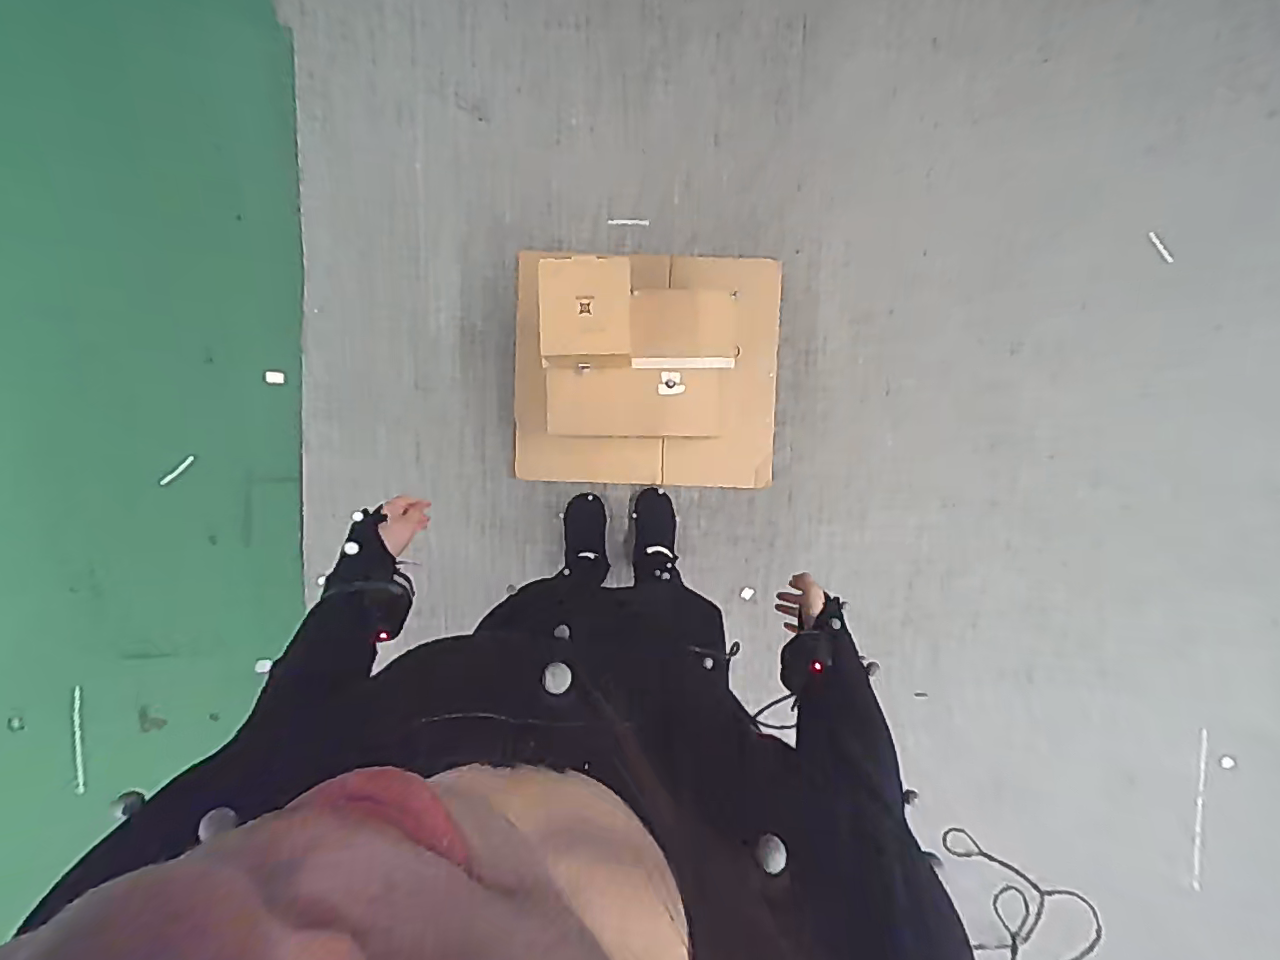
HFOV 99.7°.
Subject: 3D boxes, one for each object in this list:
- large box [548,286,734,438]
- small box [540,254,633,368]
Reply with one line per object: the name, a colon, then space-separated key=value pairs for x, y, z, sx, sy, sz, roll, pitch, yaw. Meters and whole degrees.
large box: x=-0.003 y=-0.263 z=1.295 sx=0.408 sy=0.320 sz=0.320 roll=0 pitch=94 yaw=-1
small box: x=-0.099 y=-0.319 z=1.047 sx=0.168 sy=0.176 sz=0.179 roll=-1 pitch=93 yaw=0
